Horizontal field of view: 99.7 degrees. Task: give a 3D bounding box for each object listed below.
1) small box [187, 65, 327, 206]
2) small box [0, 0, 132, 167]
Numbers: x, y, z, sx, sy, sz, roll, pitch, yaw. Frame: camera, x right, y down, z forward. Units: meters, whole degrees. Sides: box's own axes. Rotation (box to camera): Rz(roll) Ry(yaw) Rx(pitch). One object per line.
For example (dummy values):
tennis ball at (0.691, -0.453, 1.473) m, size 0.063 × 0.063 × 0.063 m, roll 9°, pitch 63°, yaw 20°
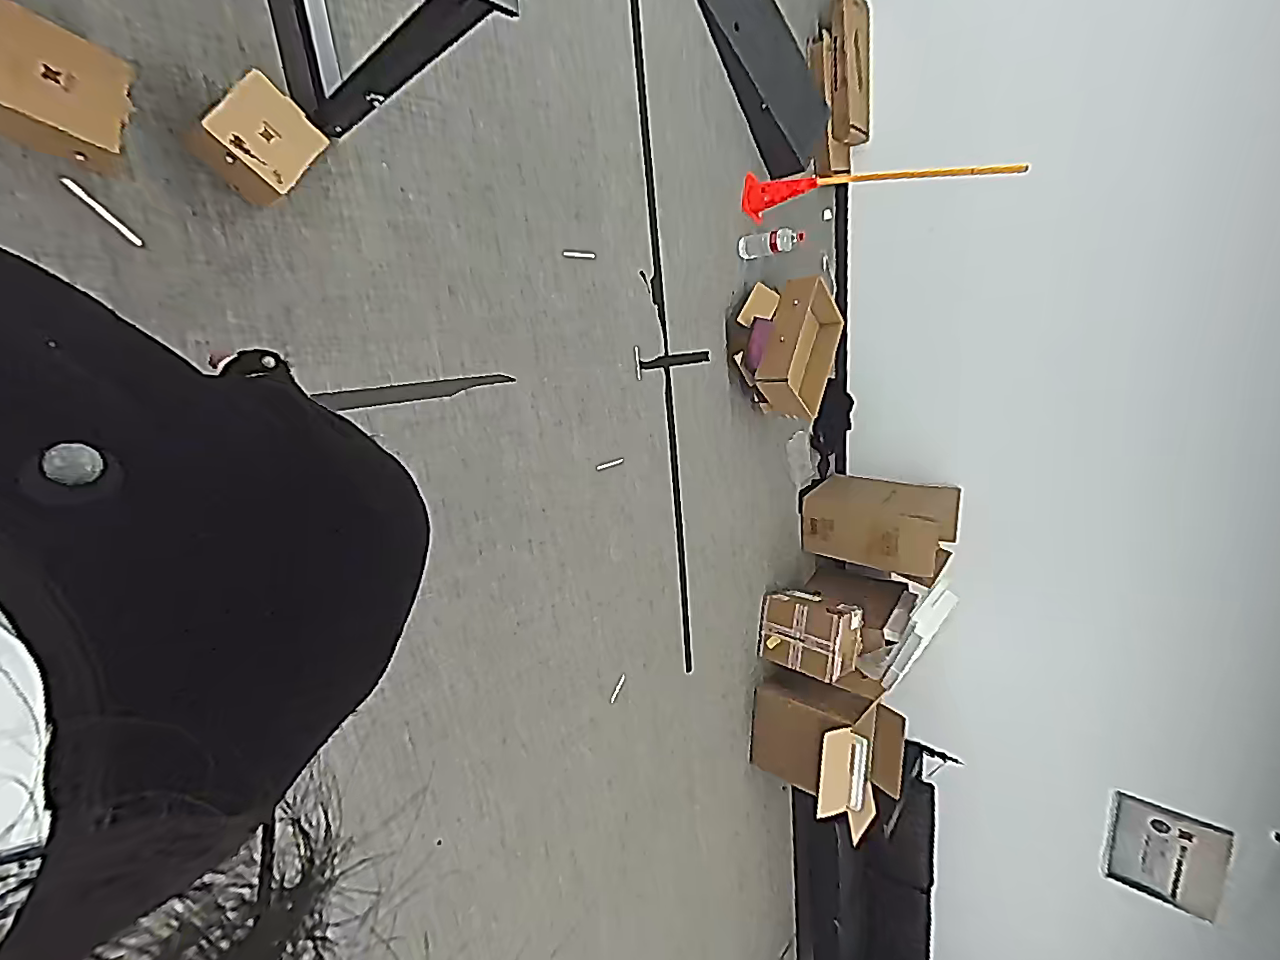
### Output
small box at (-0.826, -0.730, 1.163) m, size 0.168 × 0.176 × 0.179 m, roll 42°, pitch 65°, yaw -44°
small box at (-1.028, -0.678, 0.942) m, size 0.179 × 0.176 × 0.168 m, roll 10°, pitch 88°, yaw -49°
